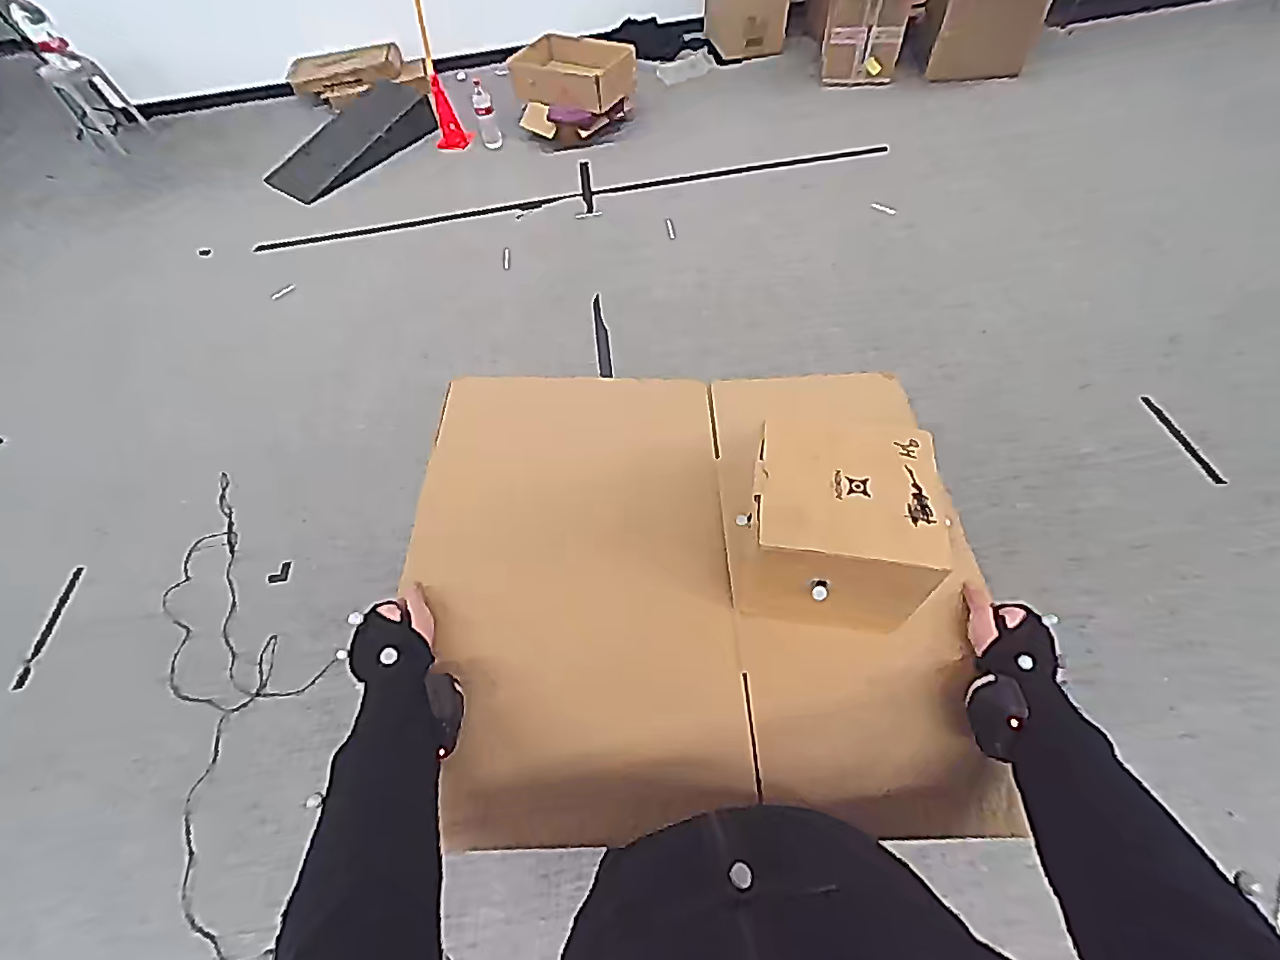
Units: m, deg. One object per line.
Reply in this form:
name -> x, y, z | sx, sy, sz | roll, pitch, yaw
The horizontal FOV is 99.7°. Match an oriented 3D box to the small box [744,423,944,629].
small box -> 0.214, 0.056, 0.614 | 0.179, 0.176, 0.168 | 6, 56, 9
